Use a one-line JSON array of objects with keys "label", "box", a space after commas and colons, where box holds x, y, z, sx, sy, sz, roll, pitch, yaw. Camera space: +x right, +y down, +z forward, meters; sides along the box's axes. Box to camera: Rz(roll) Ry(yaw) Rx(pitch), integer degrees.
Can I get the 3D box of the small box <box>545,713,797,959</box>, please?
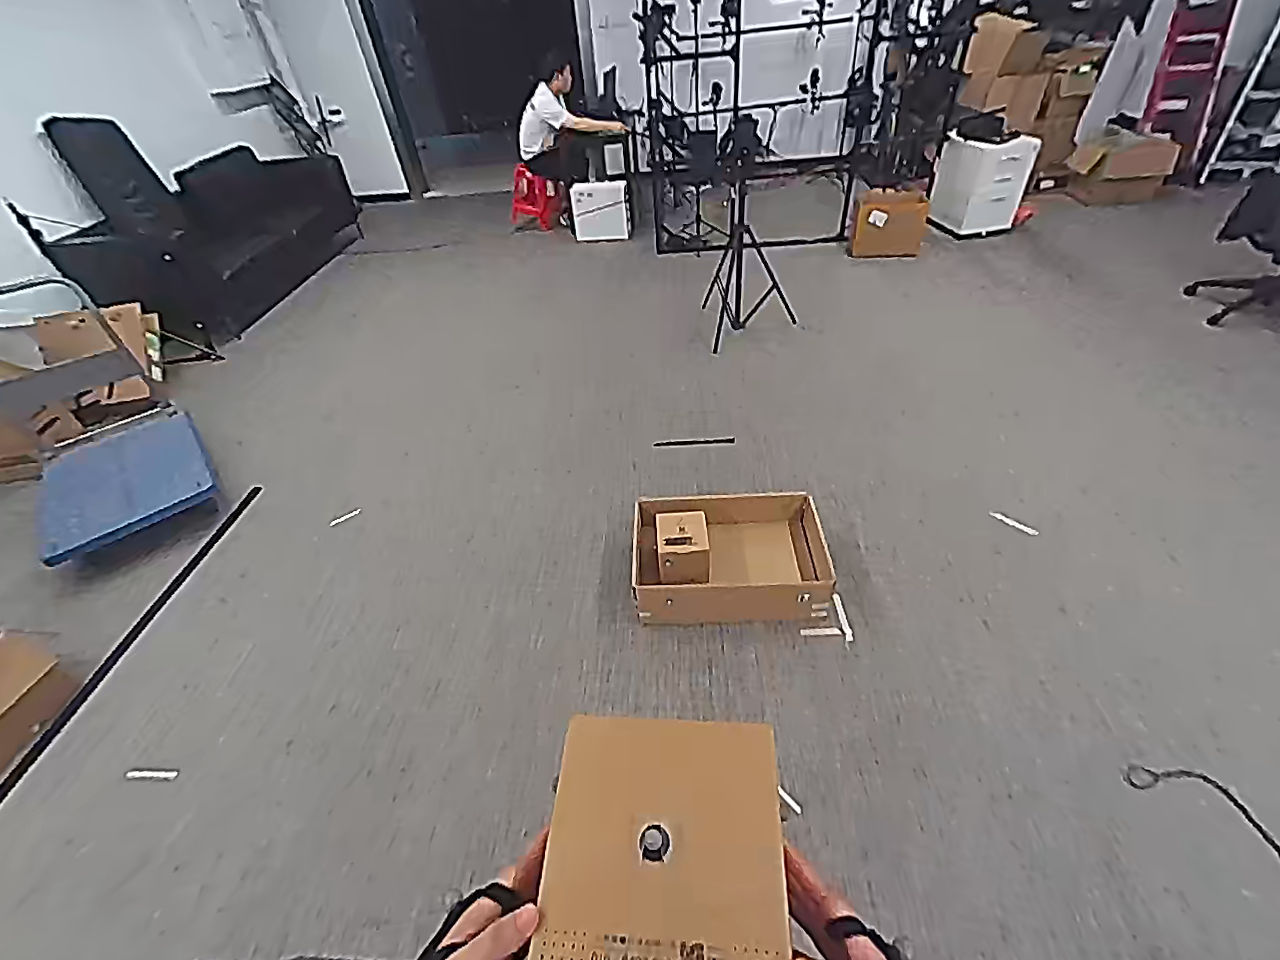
[{"label": "small box", "box": [0.031, 0.308, 0.437, 0.168, 0.179, 0.176, -1, 45, 9]}]
